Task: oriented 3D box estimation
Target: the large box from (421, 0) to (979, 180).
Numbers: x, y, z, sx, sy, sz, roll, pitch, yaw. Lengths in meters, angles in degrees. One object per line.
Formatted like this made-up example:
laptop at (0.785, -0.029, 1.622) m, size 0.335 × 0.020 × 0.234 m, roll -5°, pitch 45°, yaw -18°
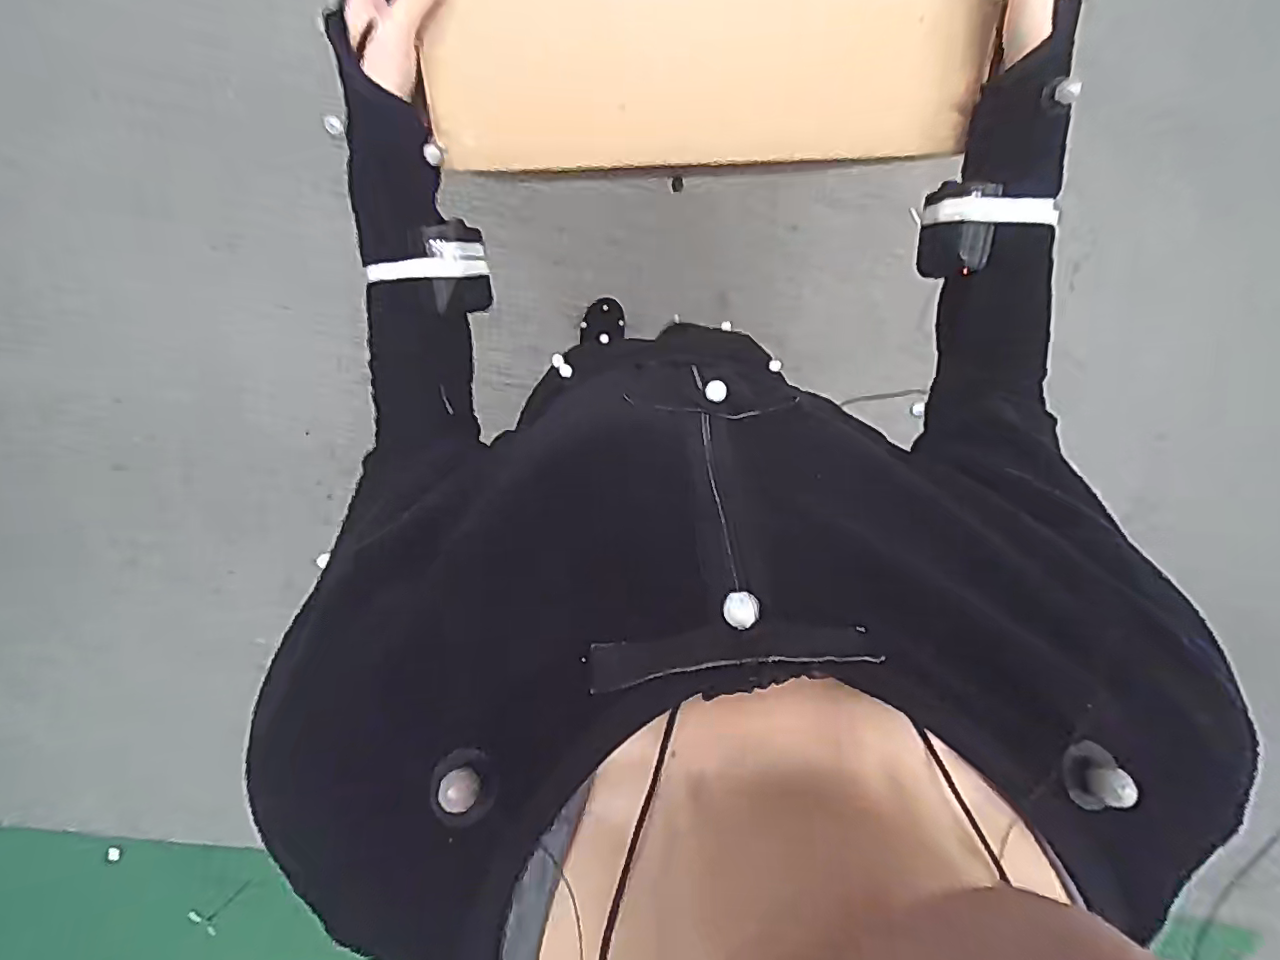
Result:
large box at (0.035, -0.454, 0.482) m, size 0.408 × 0.320 × 0.320 m, roll -4°, pitch 117°, yaw -4°
